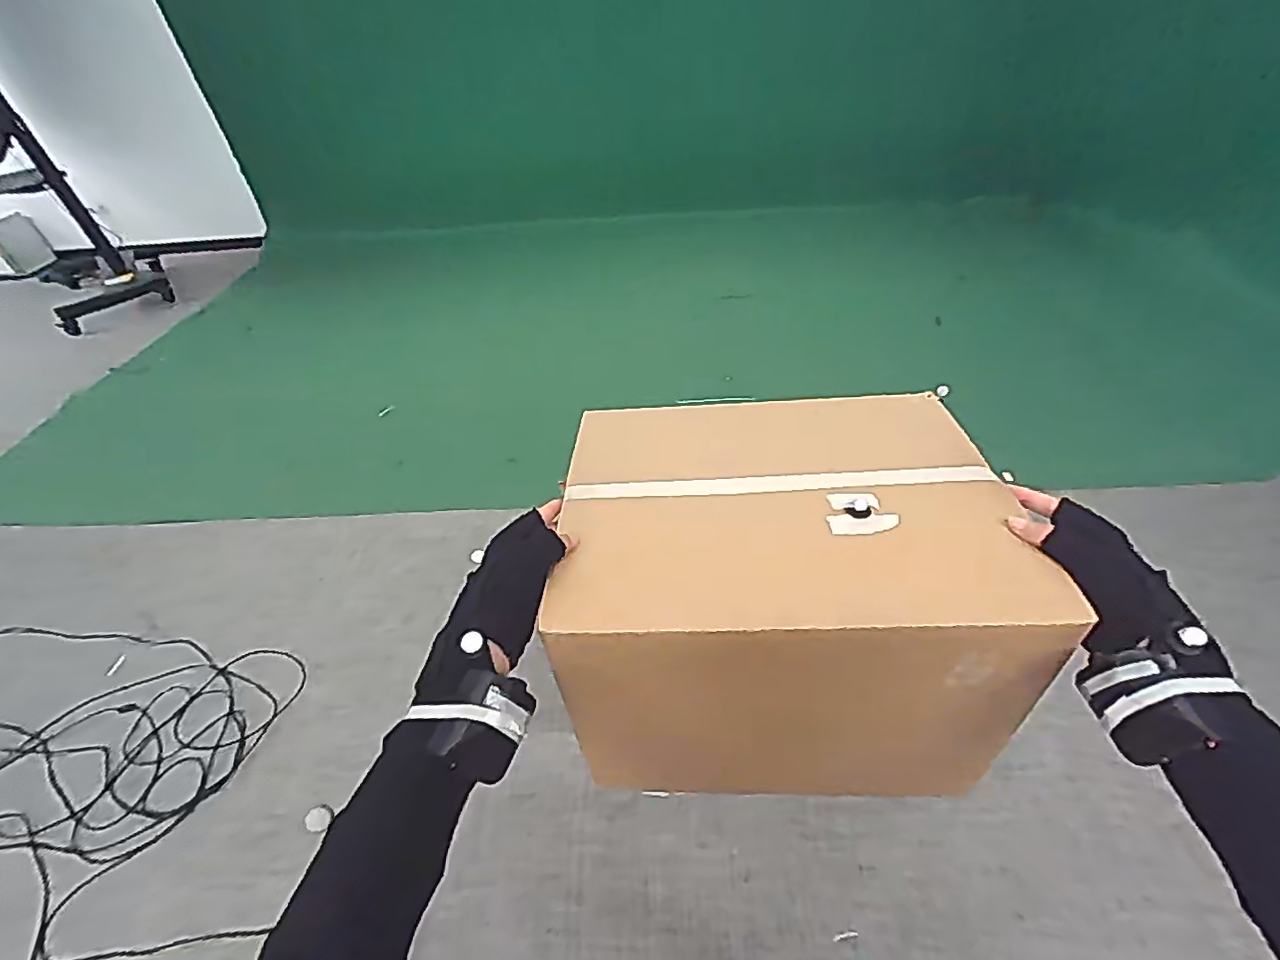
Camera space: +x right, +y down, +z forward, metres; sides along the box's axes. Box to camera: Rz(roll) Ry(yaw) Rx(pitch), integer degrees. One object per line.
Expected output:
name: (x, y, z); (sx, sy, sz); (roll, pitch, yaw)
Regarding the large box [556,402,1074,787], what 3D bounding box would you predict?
large box: (0.142, 0.128, 0.622); (0.408, 0.320, 0.320); (-2, 40, 4)
